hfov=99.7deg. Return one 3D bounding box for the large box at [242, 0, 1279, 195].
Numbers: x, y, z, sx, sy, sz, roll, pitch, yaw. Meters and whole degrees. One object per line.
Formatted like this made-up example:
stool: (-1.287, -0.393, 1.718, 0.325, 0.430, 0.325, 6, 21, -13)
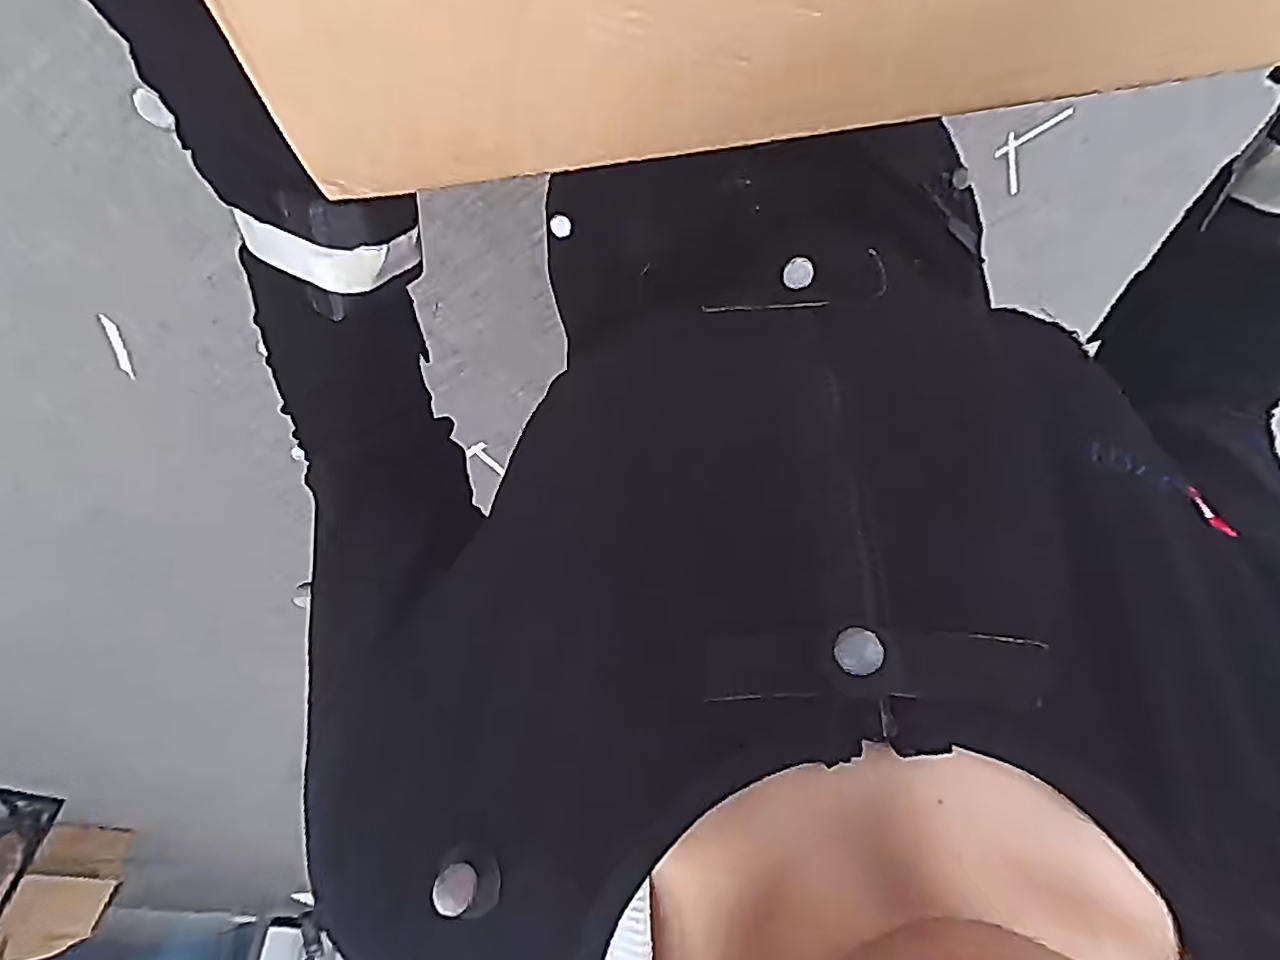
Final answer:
large box: (0.055, -0.346, 0.164, 0.408, 0.320, 0.320, -6, 144, 5)
